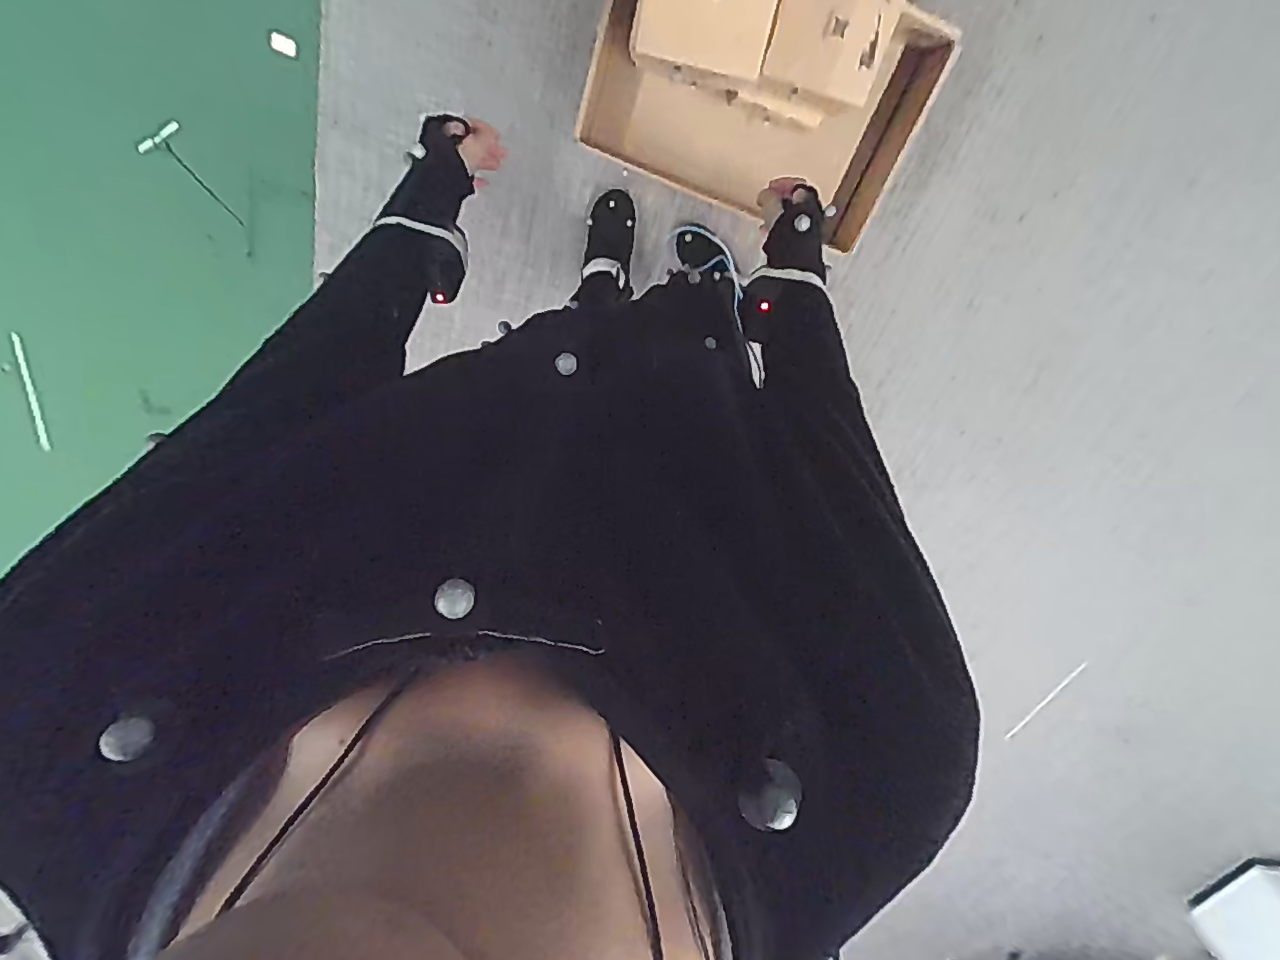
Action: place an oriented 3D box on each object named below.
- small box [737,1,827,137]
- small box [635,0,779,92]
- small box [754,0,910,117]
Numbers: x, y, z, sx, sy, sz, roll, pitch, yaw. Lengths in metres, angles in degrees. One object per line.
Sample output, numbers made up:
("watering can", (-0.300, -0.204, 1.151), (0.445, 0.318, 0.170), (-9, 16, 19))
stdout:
("small box", (0.291, -0.774, 1.015), (0.168, 0.176, 0.179), (20, 120, -6))
("small box", (0.094, -0.644, 0.722), (0.168, 0.176, 0.179), (11, 121, -5))
("small box", (0.295, -0.703, 0.866), (0.179, 0.176, 0.168), (16, 120, -4))
